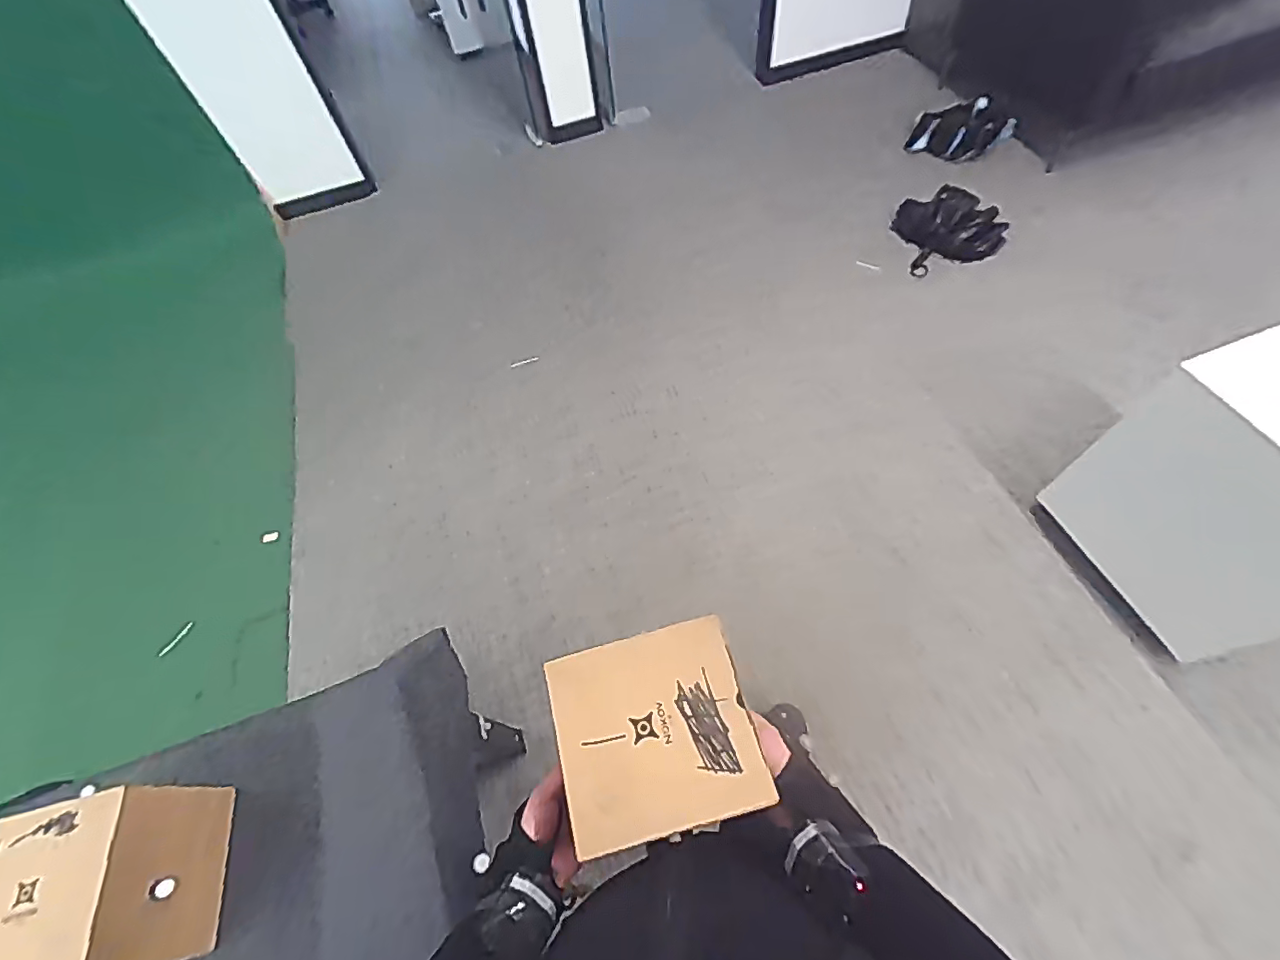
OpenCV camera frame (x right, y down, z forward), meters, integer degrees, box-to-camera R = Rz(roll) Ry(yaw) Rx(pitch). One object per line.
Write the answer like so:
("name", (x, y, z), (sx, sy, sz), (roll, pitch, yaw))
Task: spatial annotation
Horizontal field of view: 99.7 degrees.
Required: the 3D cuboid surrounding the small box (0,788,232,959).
("small box", (-0.606, 0.463, 0.609), (0.168, 0.176, 0.179), (-14, 60, -3))
